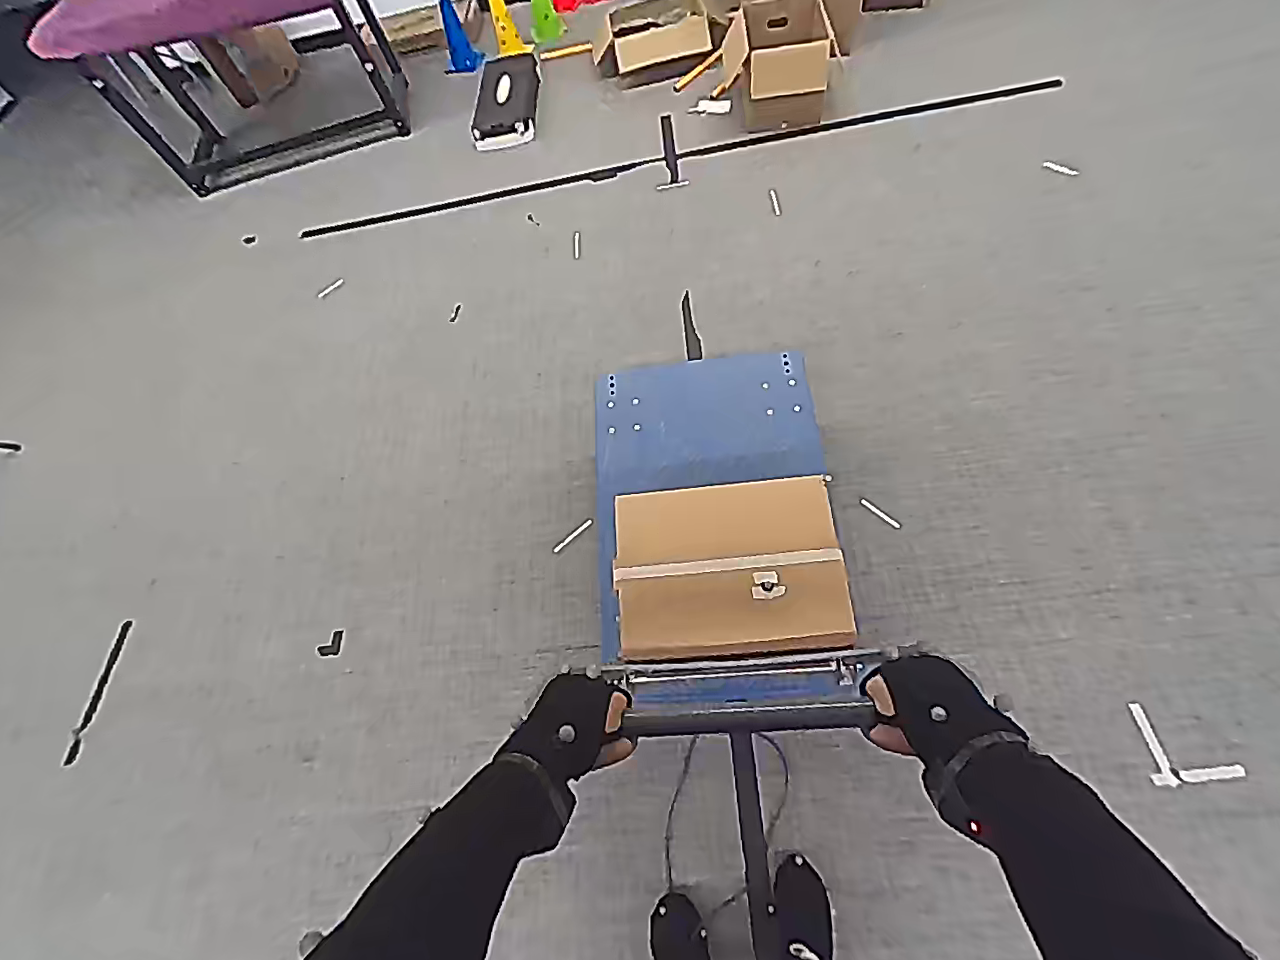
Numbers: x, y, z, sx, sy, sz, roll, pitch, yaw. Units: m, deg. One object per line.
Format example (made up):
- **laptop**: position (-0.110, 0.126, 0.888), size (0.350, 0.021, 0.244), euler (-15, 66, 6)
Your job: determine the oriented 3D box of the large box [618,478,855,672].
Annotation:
- **large box**: position (0.181, 0.217, 1.136), size (0.408, 0.320, 0.320), euler (-6, 68, 6)
